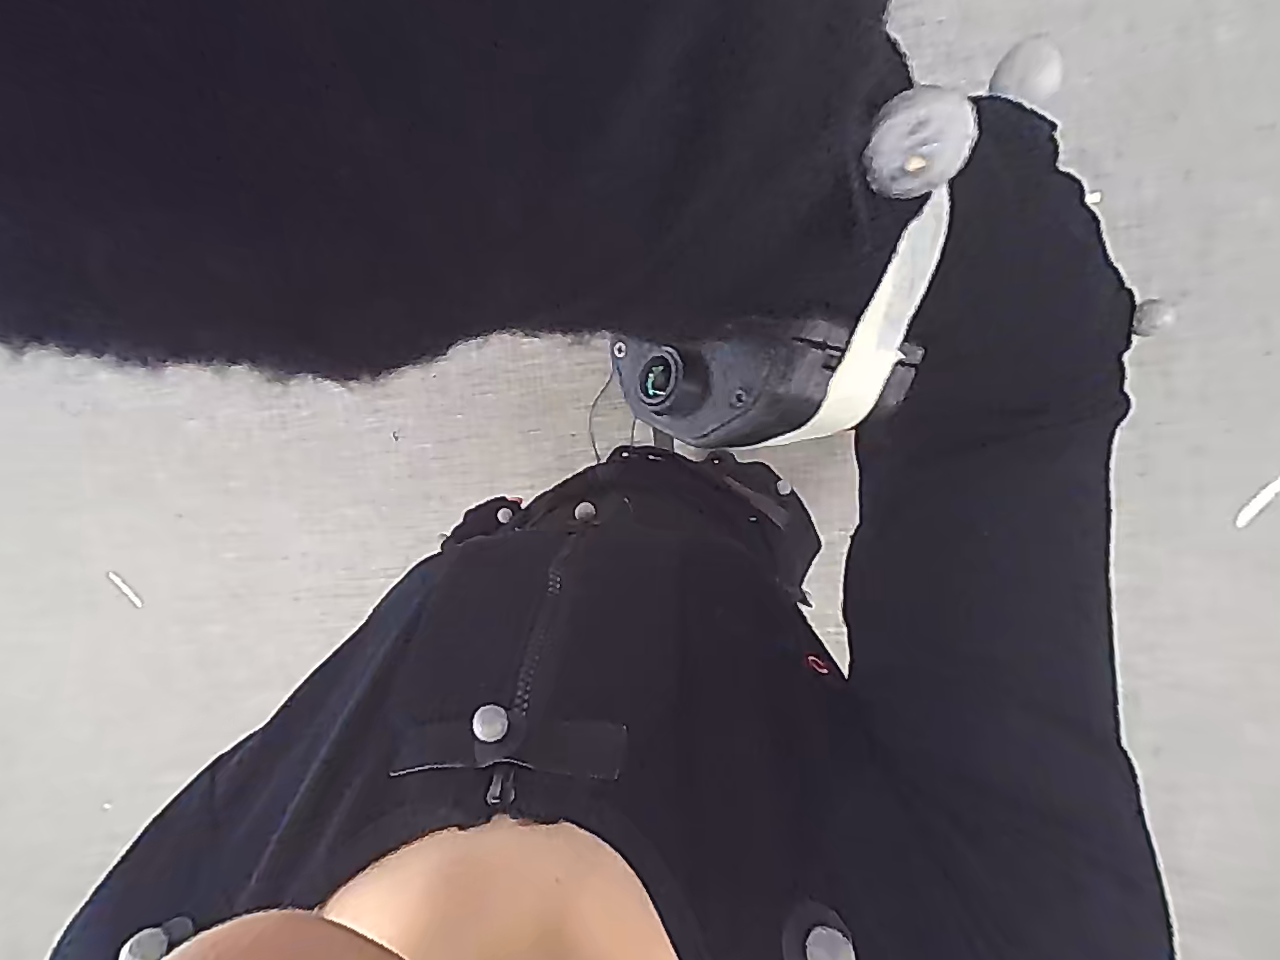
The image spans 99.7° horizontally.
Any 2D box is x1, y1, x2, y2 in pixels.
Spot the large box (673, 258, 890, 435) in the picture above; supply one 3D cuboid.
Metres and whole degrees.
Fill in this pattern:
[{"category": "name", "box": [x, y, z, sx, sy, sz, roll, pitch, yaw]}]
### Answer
[{"category": "large box", "box": [0.283, -0.260, 1.171, 0.408, 0.320, 0.320, -1, 95, 7]}]
